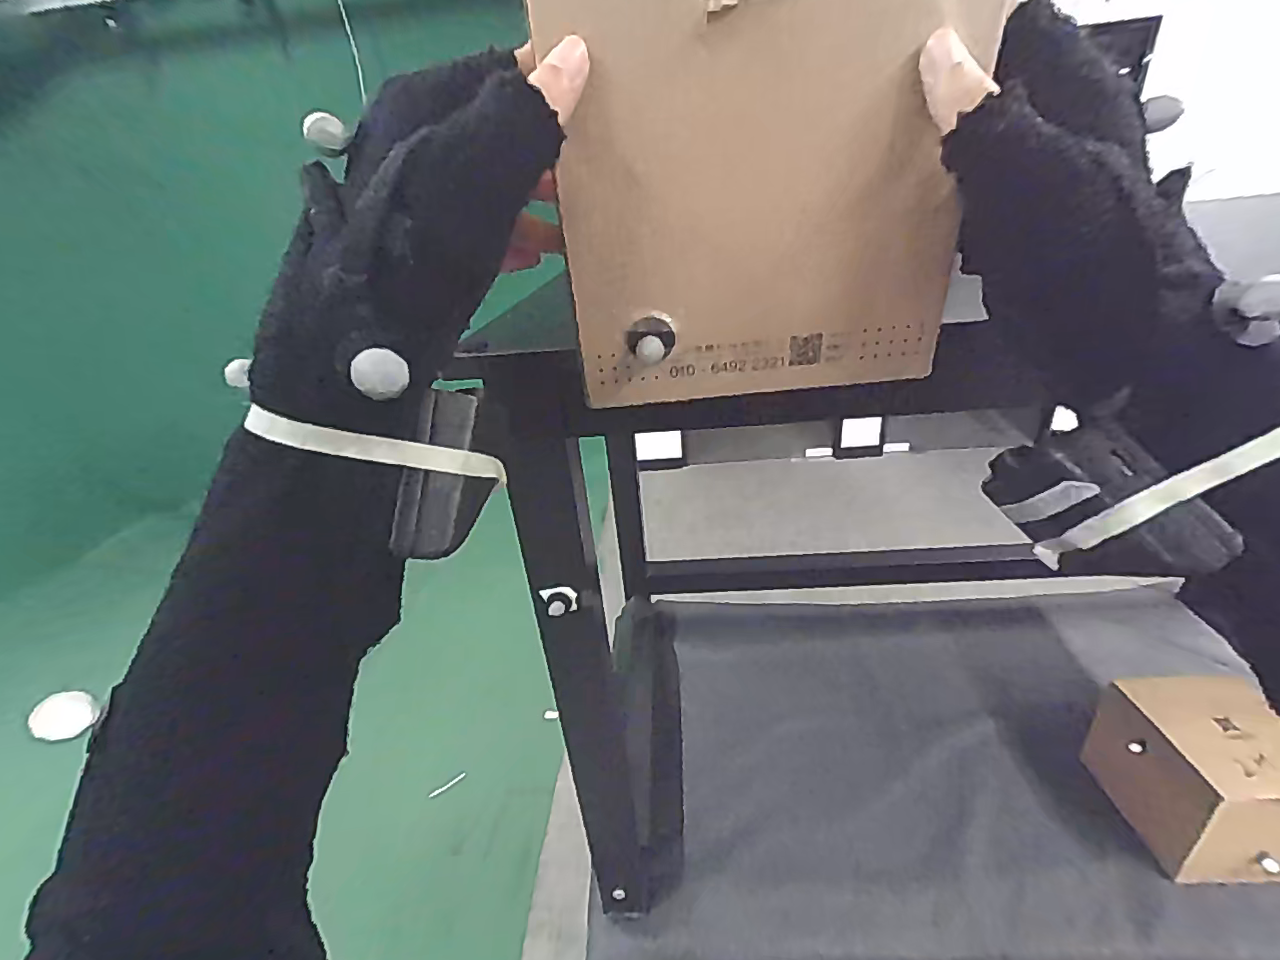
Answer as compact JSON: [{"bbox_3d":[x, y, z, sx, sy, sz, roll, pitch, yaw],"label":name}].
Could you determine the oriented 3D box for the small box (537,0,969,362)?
[{"bbox_3d":[0.049,-0.168,0.294,0.168,0.176,0.179,-5,31,1],"label":"small box"}]

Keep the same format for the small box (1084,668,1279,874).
[{"bbox_3d":[0.737,0.374,0.708,0.168,0.176,0.179,-4,26,5],"label":"small box"}]
